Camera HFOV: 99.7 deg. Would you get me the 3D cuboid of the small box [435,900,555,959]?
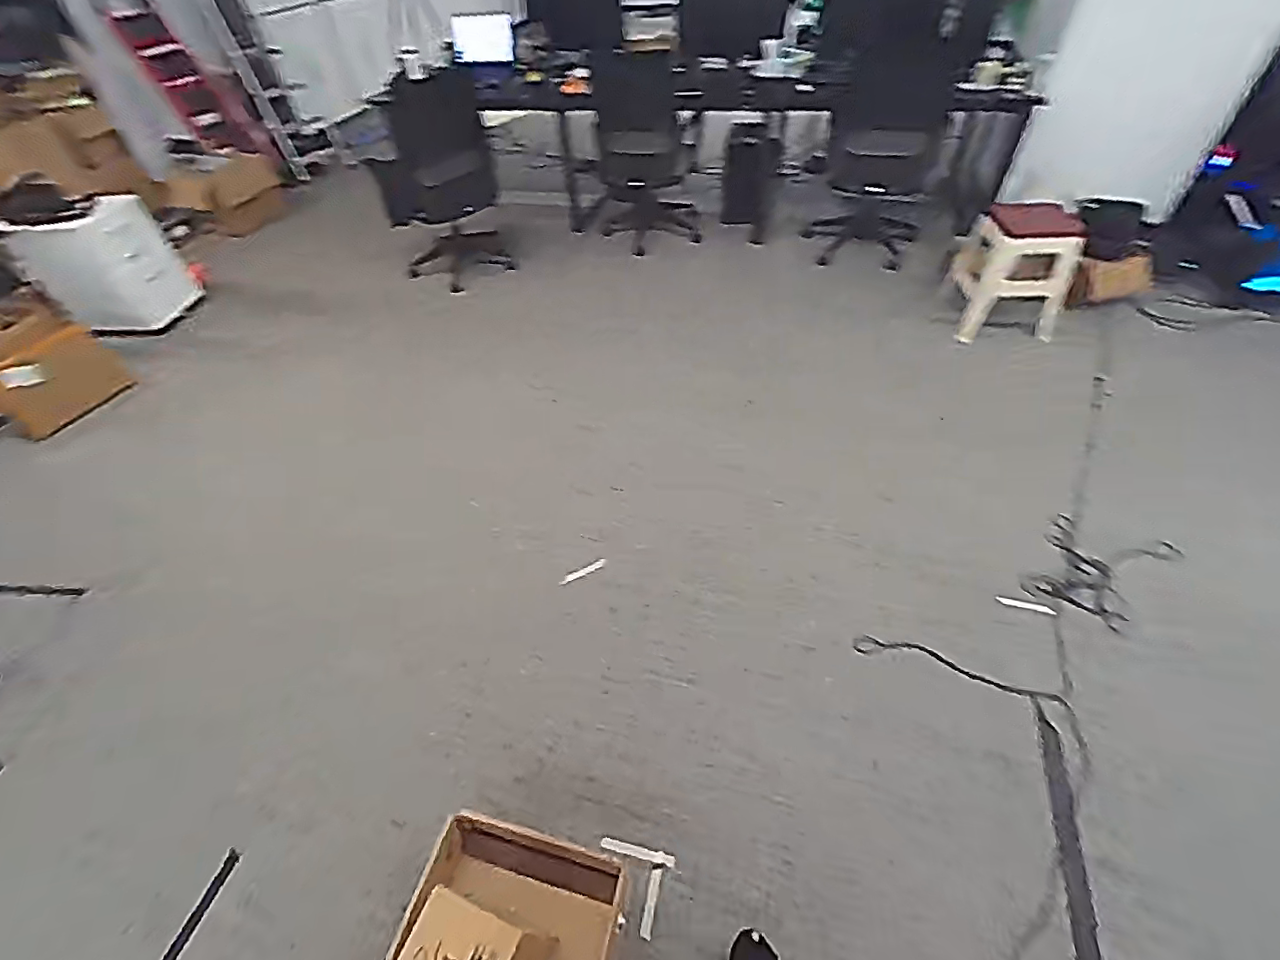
[{"bbox_3d":[-0.283,0.937,1.028,0.179,0.176,0.168,13,52,15],"label":"small box"}]
